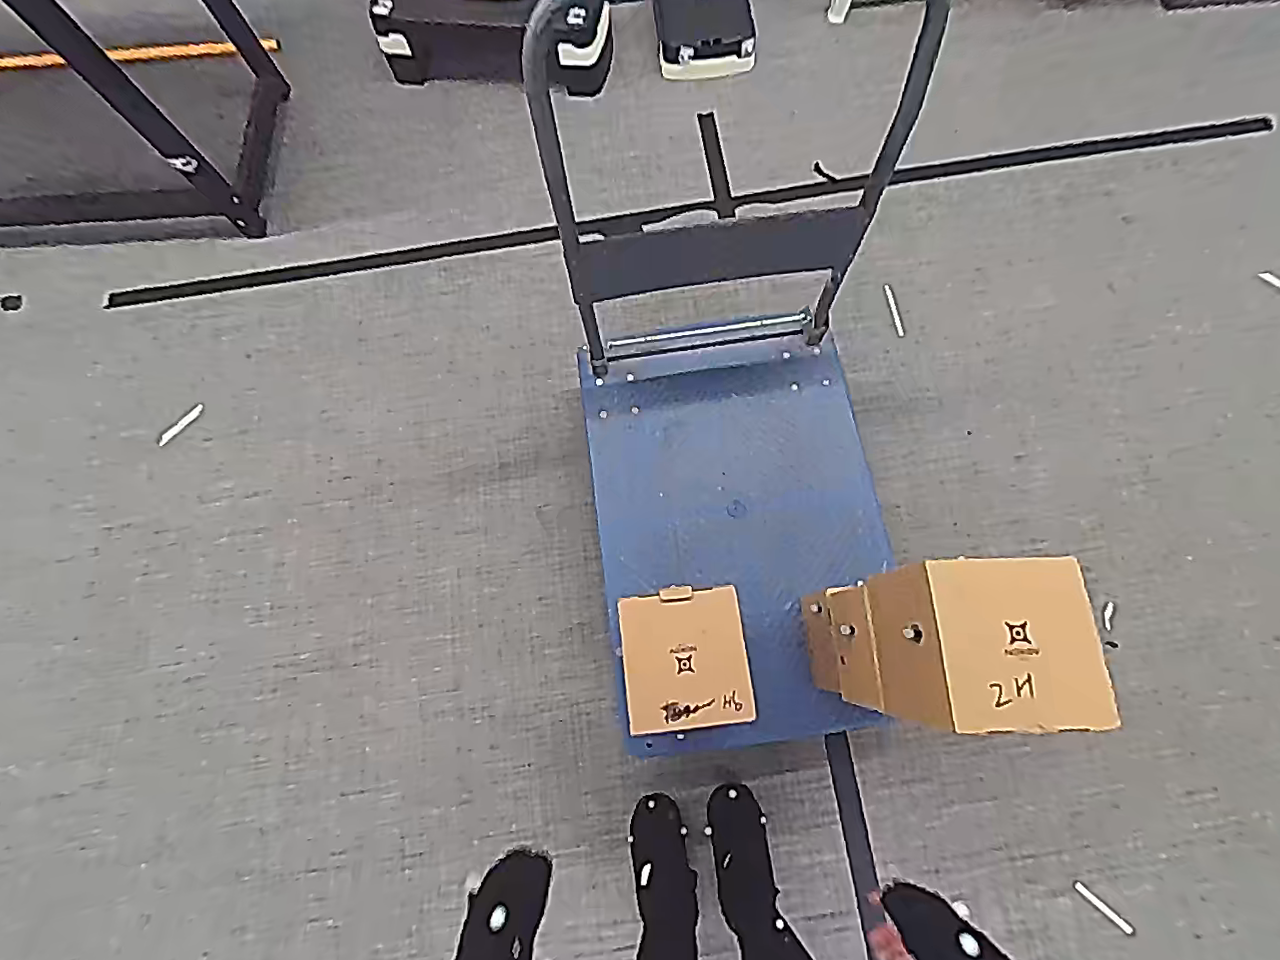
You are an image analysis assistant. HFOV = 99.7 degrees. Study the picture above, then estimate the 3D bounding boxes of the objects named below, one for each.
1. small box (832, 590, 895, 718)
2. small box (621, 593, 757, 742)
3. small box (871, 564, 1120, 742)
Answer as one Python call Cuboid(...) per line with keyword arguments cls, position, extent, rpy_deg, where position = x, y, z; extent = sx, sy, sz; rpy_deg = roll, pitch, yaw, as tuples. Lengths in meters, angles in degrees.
Cuboid(cls="small box", position=(0.394, 0.249, 0.788), extent=(0.179, 0.176, 0.168), rpy_deg=(-3, 73, 0))
Cuboid(cls="small box", position=(0.063, 0.269, 0.791), extent=(0.168, 0.176, 0.179), rpy_deg=(-7, 72, 0))
Cuboid(cls="small box", position=(0.389, 0.198, 0.631), extent=(0.168, 0.176, 0.179), rpy_deg=(-2, 73, 1))
